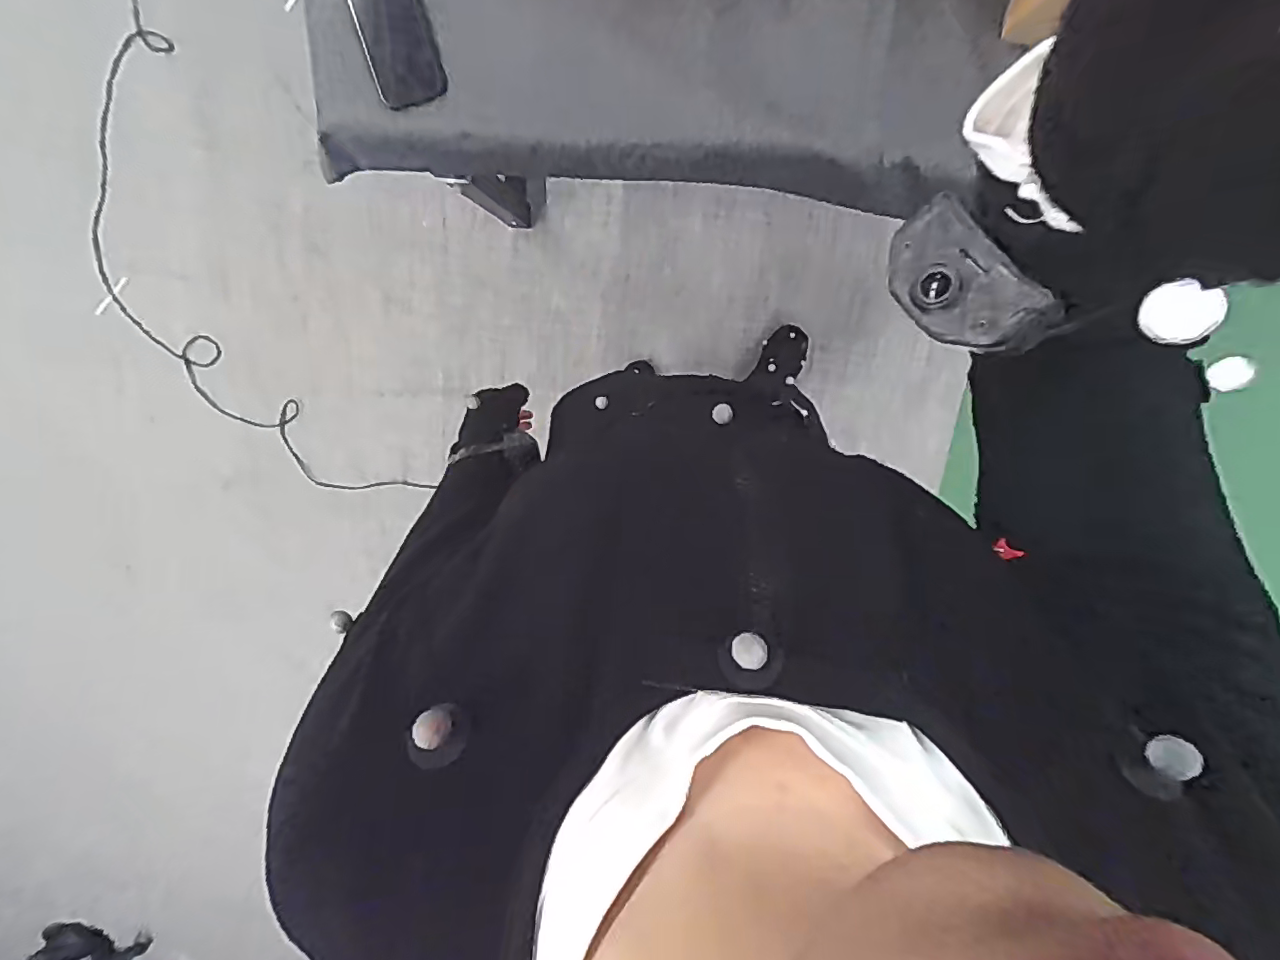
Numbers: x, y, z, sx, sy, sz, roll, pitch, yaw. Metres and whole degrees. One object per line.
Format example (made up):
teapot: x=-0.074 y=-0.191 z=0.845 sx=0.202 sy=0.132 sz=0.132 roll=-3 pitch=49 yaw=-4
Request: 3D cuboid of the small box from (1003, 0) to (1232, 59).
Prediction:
small box: x=0.474 y=-0.525 z=0.490 sx=0.168 sy=0.176 sz=0.179 roll=9 pitch=105 yaw=0
